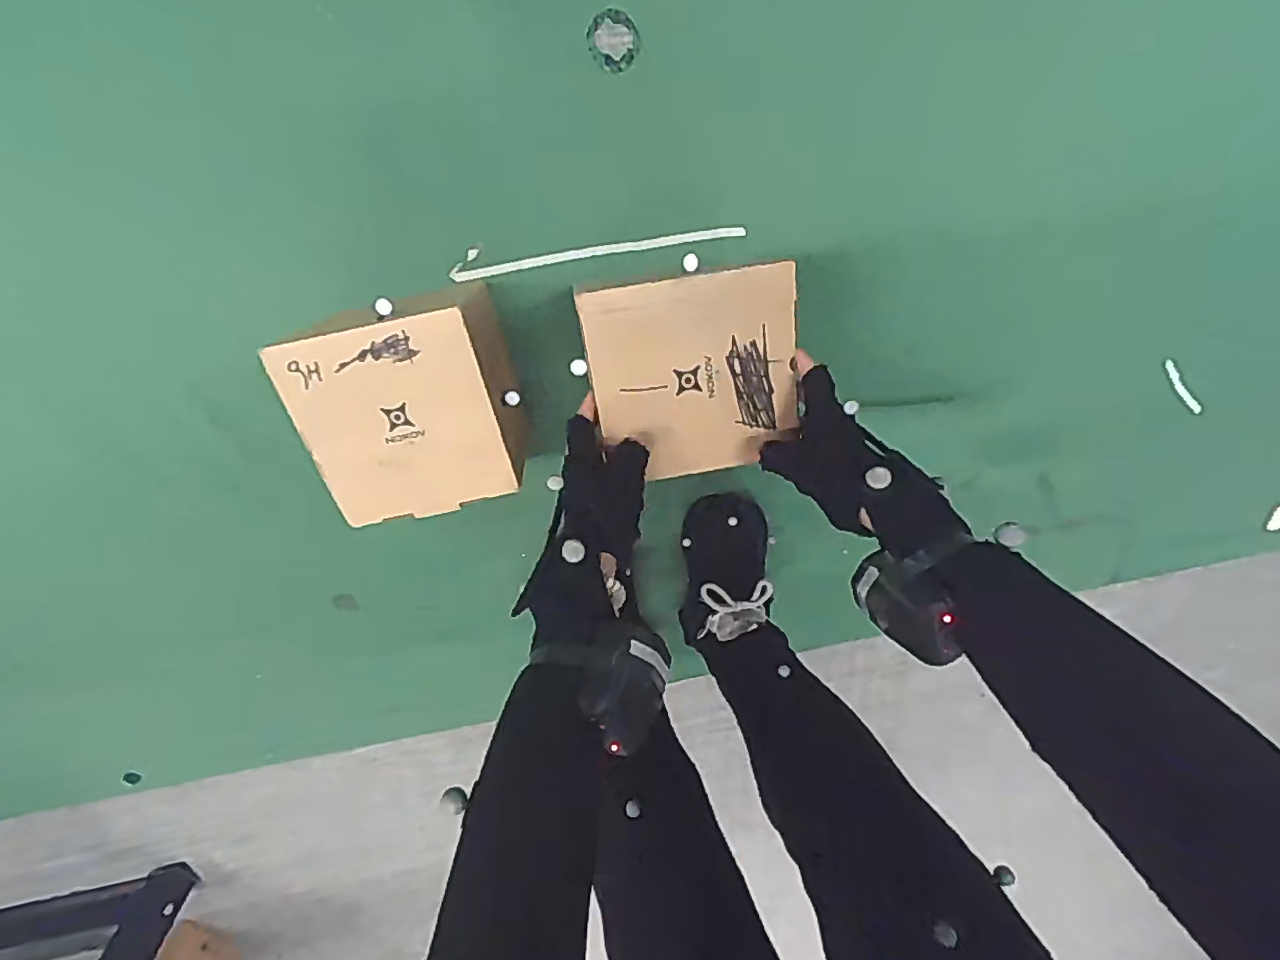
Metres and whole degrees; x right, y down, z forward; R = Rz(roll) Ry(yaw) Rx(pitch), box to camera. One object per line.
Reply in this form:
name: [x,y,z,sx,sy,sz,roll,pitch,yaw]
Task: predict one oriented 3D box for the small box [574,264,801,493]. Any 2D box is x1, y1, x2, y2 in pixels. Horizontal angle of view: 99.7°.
small box: [0.037,-0.107,0.515,0.179,0.176,0.168,-10,114,-3]
